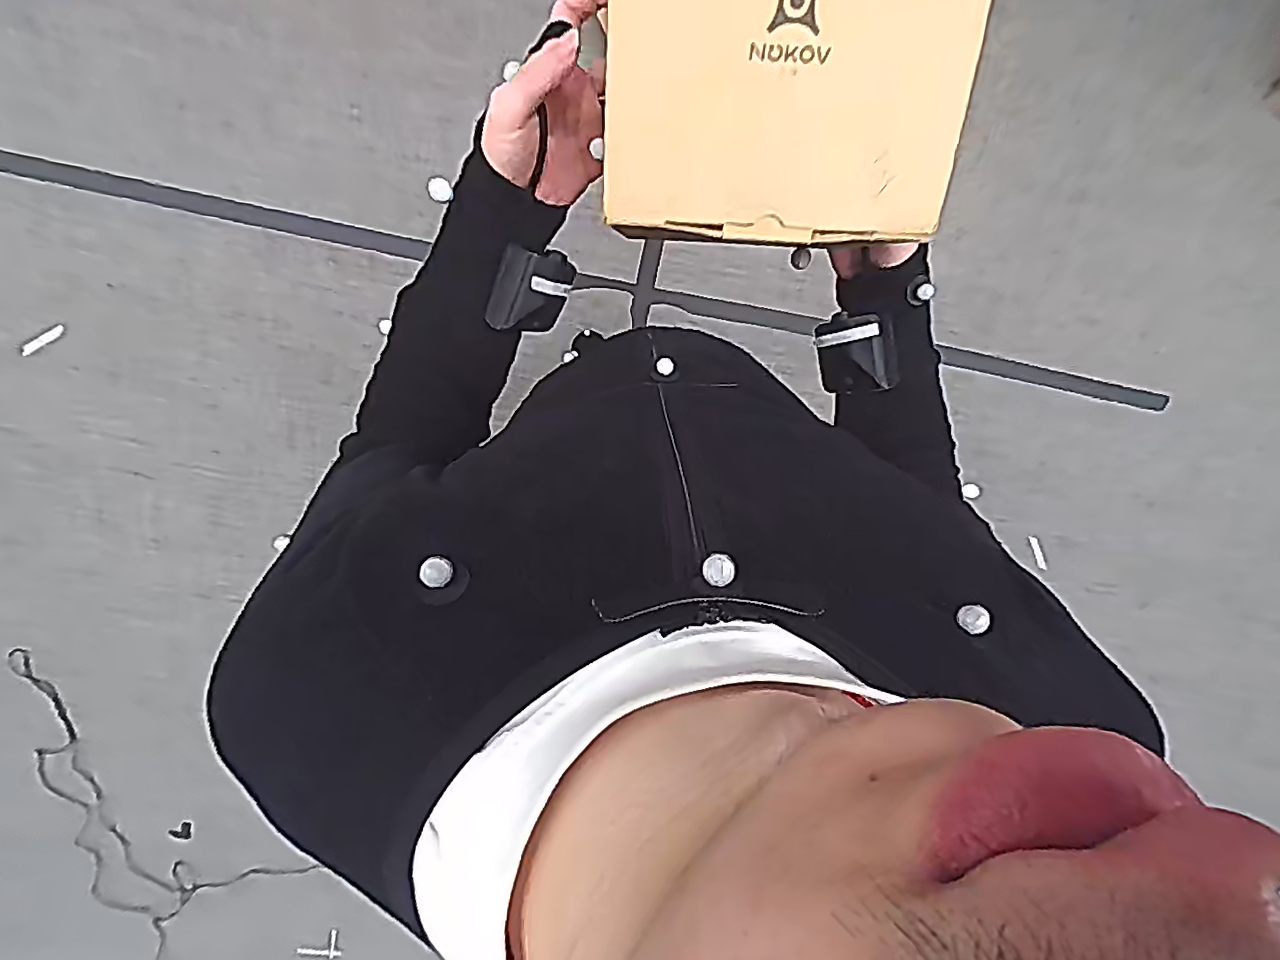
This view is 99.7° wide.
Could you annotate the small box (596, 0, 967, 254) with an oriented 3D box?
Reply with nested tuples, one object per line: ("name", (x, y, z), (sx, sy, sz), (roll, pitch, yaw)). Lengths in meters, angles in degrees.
("small box", (0.067, -0.234, 0.323), (0.168, 0.176, 0.179), (3, 112, 1))
